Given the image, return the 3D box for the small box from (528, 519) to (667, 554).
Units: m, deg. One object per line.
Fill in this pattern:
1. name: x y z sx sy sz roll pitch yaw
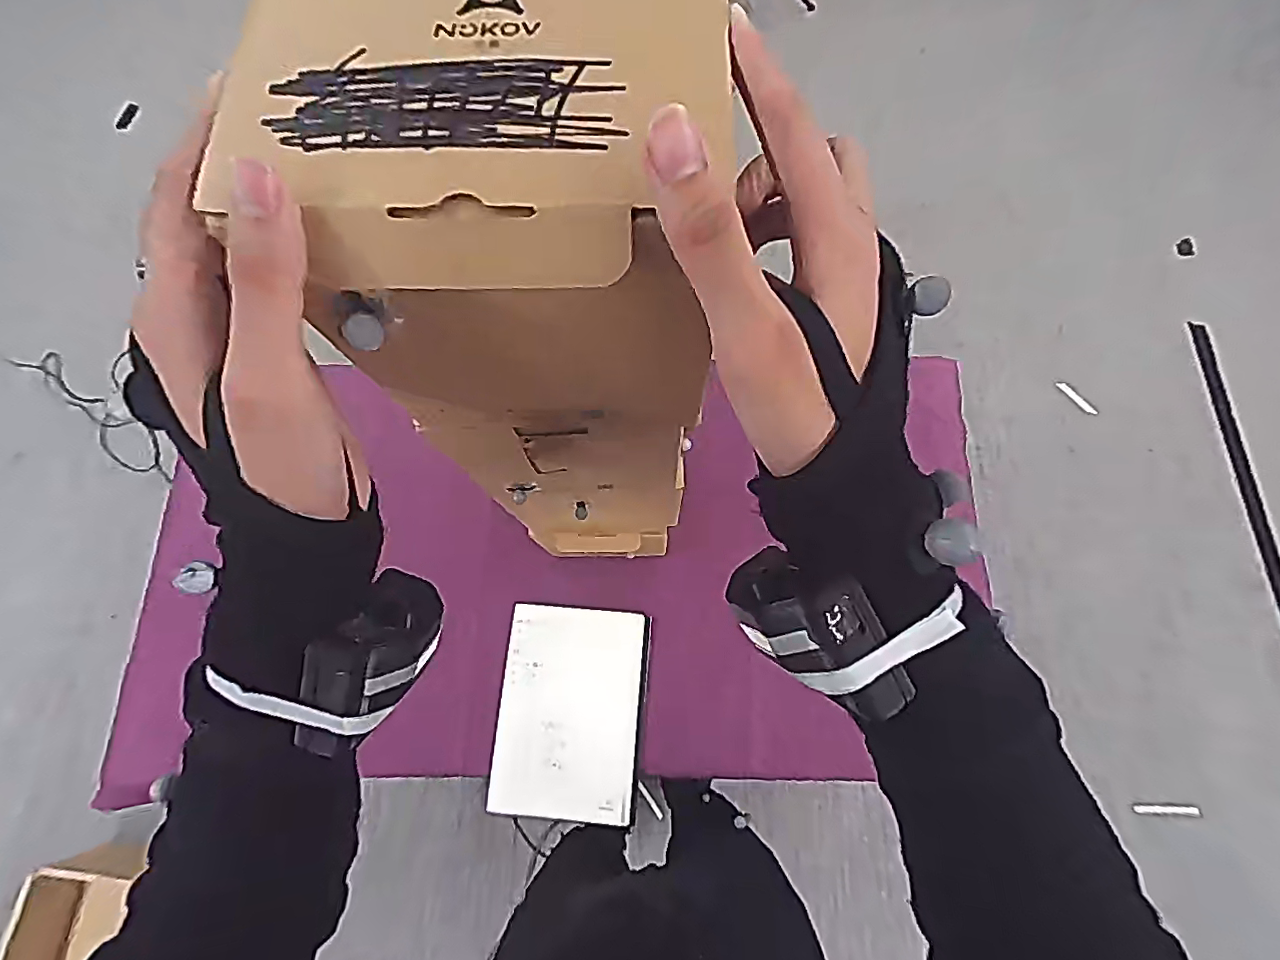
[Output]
1. small box: -0.046 0.003 0.727 0.168 0.176 0.179 0 74 1

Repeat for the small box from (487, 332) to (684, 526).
1. small box: -0.046 -0.047 0.570 0.179 0.176 0.168 -1 75 1

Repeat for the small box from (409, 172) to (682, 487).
1. small box: -0.054 -0.096 0.413 0.168 0.176 0.179 -2 73 1
